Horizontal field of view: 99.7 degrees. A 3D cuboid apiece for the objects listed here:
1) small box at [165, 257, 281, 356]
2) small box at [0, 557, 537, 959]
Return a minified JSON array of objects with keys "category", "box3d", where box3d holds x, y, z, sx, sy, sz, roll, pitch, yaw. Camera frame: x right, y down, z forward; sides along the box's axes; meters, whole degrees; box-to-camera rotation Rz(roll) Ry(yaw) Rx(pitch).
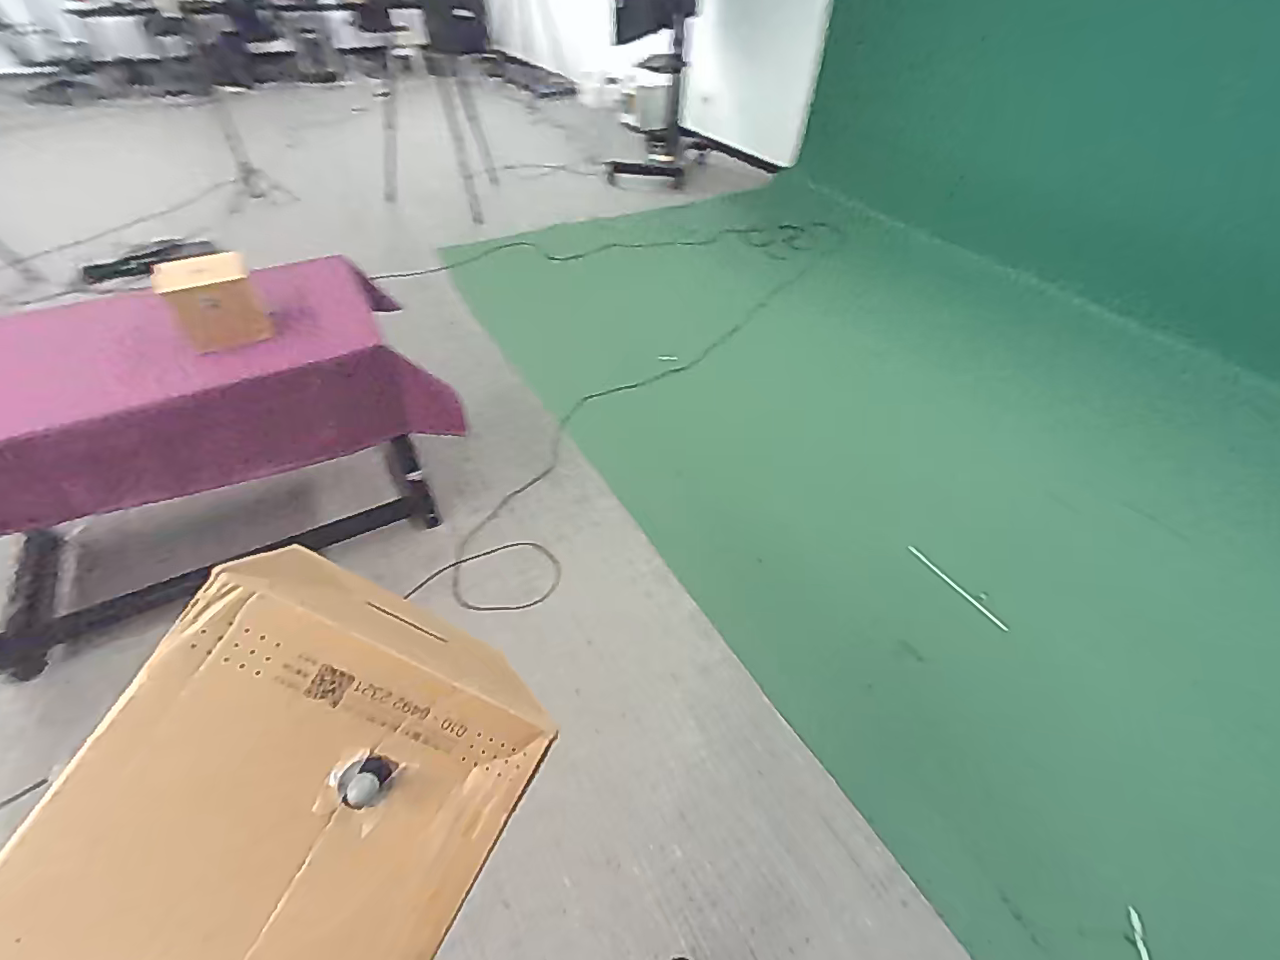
[{"category":"small box","box3d":[-1.043,-0.433,1.360,0.179,0.176,0.168,-21,50,-21]},{"category":"small box","box3d":[-0.179,0.155,0.303,0.168,0.179,0.176,34,74,-18]}]
